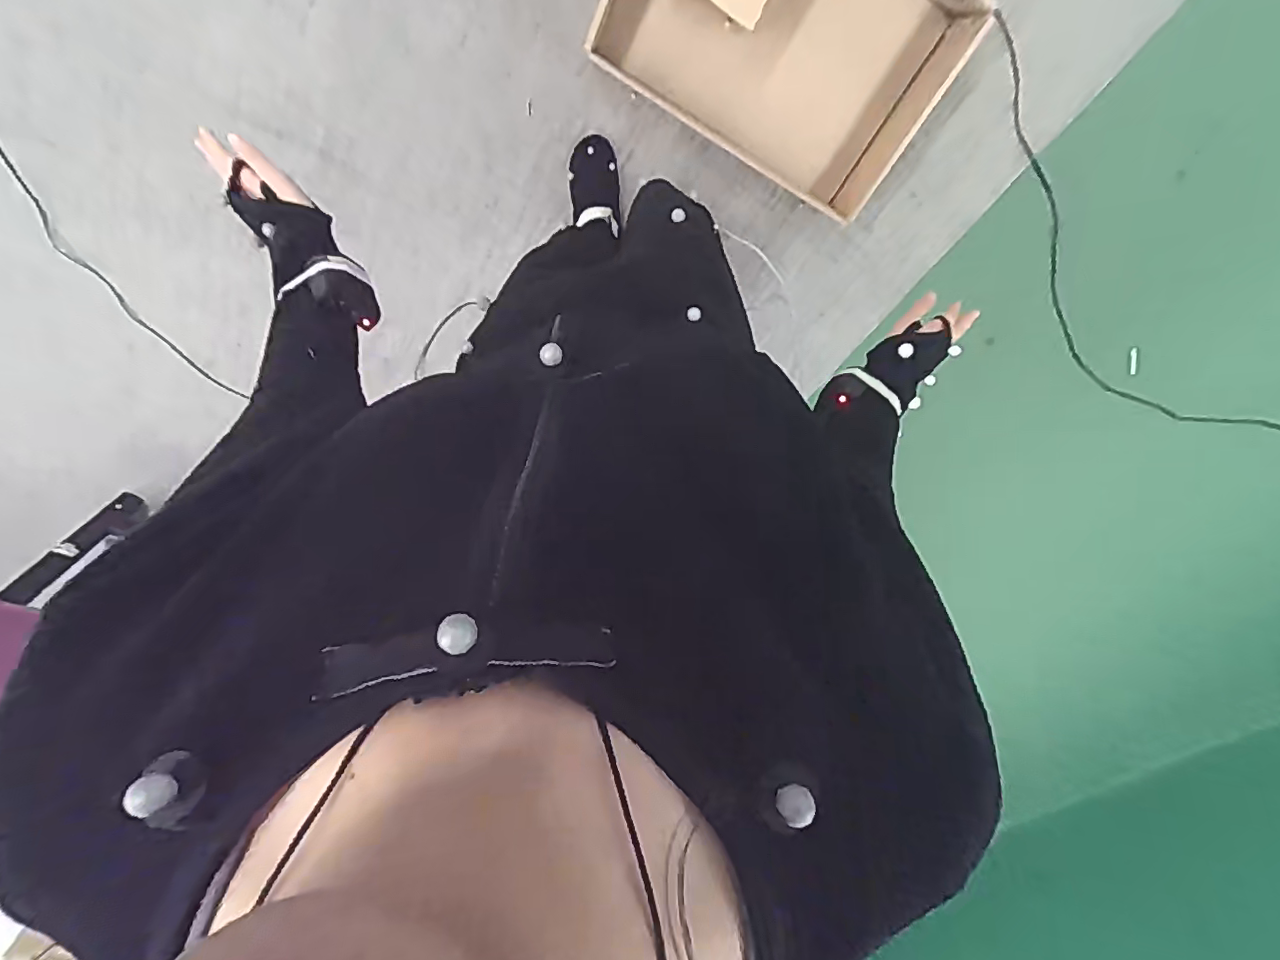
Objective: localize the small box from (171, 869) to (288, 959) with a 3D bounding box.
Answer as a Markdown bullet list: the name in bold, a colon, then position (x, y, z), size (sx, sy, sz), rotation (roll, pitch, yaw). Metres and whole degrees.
- **small box**: position (-1.064, 1.142, 1.409), size (0.179, 0.176, 0.168), rotation (25, 123, -19)

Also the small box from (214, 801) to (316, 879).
- **small box**: position (-1.065, 1.042, 1.539), size (0.179, 0.176, 0.168), rotation (26, 123, -18)

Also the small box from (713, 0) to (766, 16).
- **small box**: position (0.157, -0.911, 0.899), size (0.179, 0.176, 0.168), rotation (22, 126, -18)

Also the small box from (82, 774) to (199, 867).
- **small box**: position (-1.320, 0.920, 1.444), size (0.168, 0.176, 0.179), rotation (21, 124, -16)
